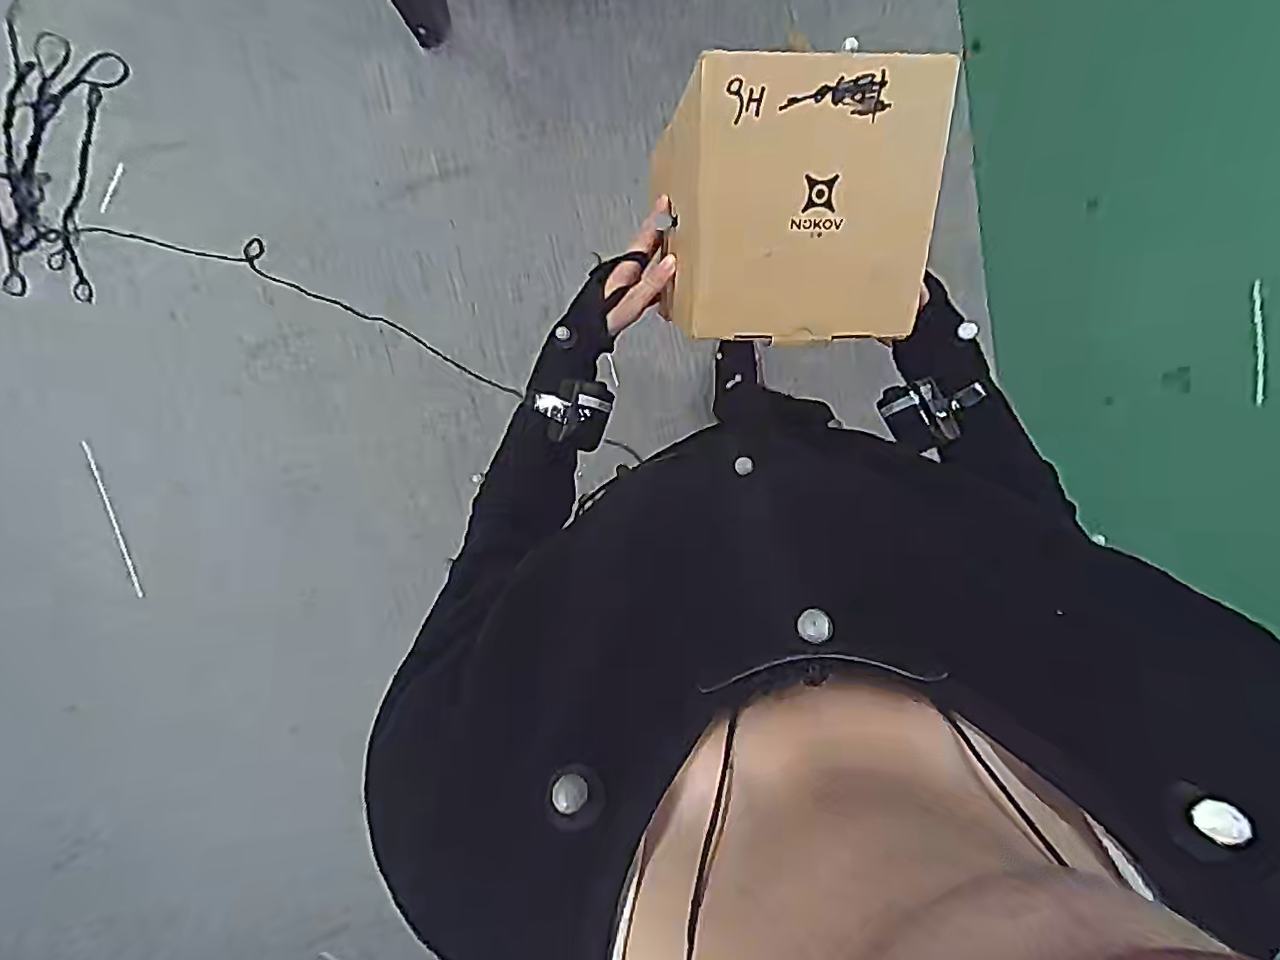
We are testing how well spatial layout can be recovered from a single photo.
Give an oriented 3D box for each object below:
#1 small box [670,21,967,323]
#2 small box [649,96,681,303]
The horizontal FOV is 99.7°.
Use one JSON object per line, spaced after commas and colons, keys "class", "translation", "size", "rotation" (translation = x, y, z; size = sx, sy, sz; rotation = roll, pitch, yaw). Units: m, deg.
{"class": "small box", "translation": [0.115, -0.226, 0.431], "size": [0.168, 0.176, 0.179], "rotation": [-1, 113, -3]}
{"class": "small box", "translation": [0.100, -0.287, 0.586], "size": [0.168, 0.176, 0.179], "rotation": [-1, 112, -4]}
